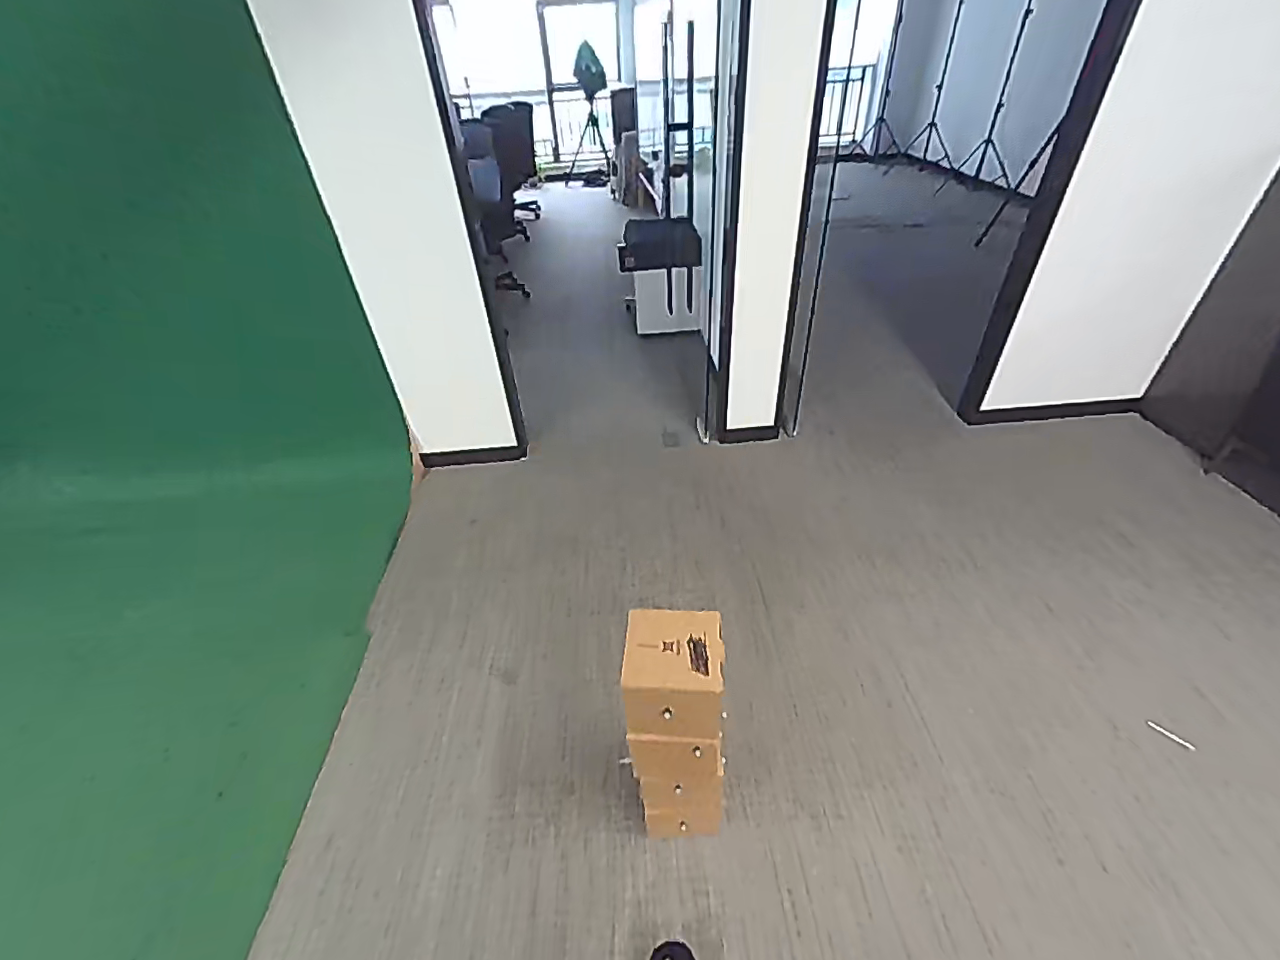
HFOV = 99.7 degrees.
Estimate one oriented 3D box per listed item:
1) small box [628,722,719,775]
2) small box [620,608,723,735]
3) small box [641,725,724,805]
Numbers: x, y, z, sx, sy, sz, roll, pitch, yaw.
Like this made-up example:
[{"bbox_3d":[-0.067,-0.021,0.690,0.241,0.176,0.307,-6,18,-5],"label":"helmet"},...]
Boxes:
[{"bbox_3d":[0.072,0.494,1.125,0.179,0.176,0.168,-1,39,4],"label":"small box"},{"bbox_3d":[0.065,0.364,1.025,0.179,0.176,0.168,0,39,7],"label":"small box"},{"bbox_3d":[0.095,0.620,1.228,0.179,0.176,0.168,-3,40,2],"label":"small box"}]
